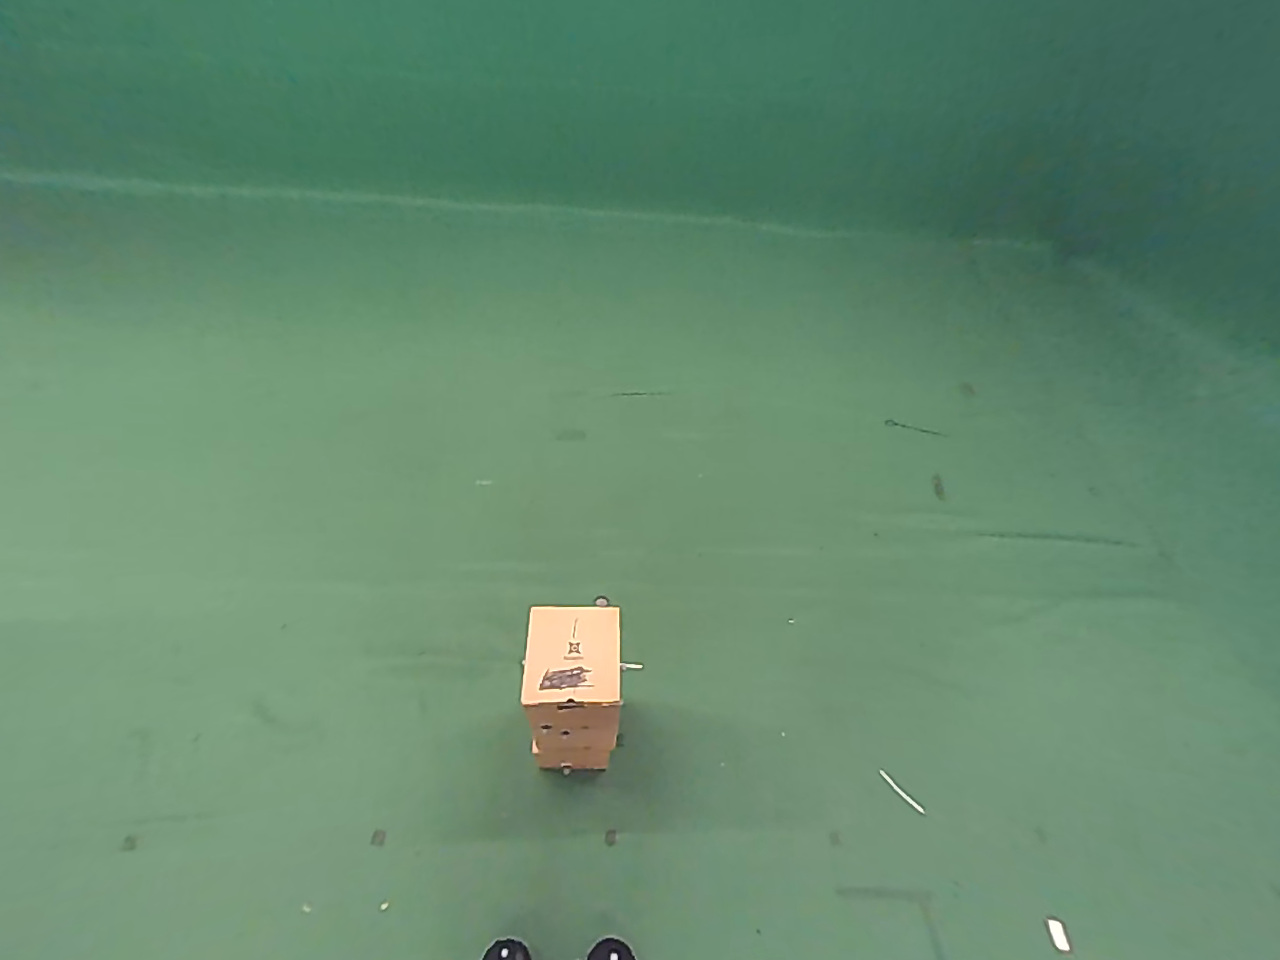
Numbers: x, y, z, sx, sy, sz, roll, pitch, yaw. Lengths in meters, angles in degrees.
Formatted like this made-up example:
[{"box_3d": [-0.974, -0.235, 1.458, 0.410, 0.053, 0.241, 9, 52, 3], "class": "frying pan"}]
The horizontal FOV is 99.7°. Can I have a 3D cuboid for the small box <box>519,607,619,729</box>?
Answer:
[{"box_3d": [-0.125, 0.353, 1.006, 0.168, 0.176, 0.179, 2, 50, -4], "class": "small box"}]

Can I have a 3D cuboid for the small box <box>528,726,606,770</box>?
[{"box_3d": [-0.156, 0.550, 1.243, 0.168, 0.176, 0.179, 3, 52, -1], "class": "small box"}]

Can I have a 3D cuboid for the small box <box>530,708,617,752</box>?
[{"box_3d": [-0.134, 0.455, 1.135, 0.168, 0.176, 0.179, 1, 50, -4], "class": "small box"}]
